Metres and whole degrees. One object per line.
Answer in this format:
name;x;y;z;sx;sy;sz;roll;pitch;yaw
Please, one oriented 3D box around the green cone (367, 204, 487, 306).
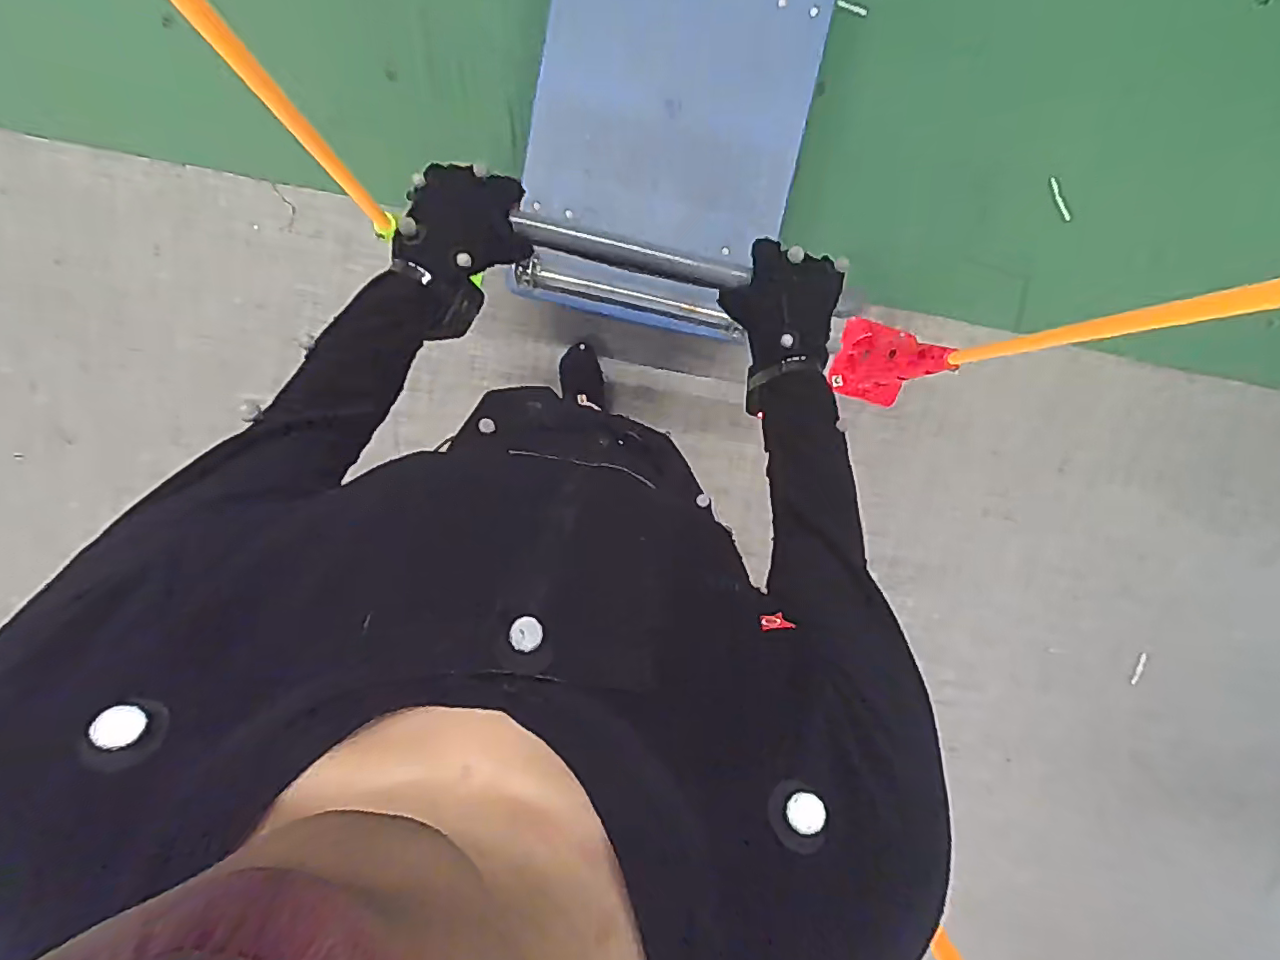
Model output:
green cone;-0.486;-0.523;1.173;0.202;0.368;0.200;15;99;-5
